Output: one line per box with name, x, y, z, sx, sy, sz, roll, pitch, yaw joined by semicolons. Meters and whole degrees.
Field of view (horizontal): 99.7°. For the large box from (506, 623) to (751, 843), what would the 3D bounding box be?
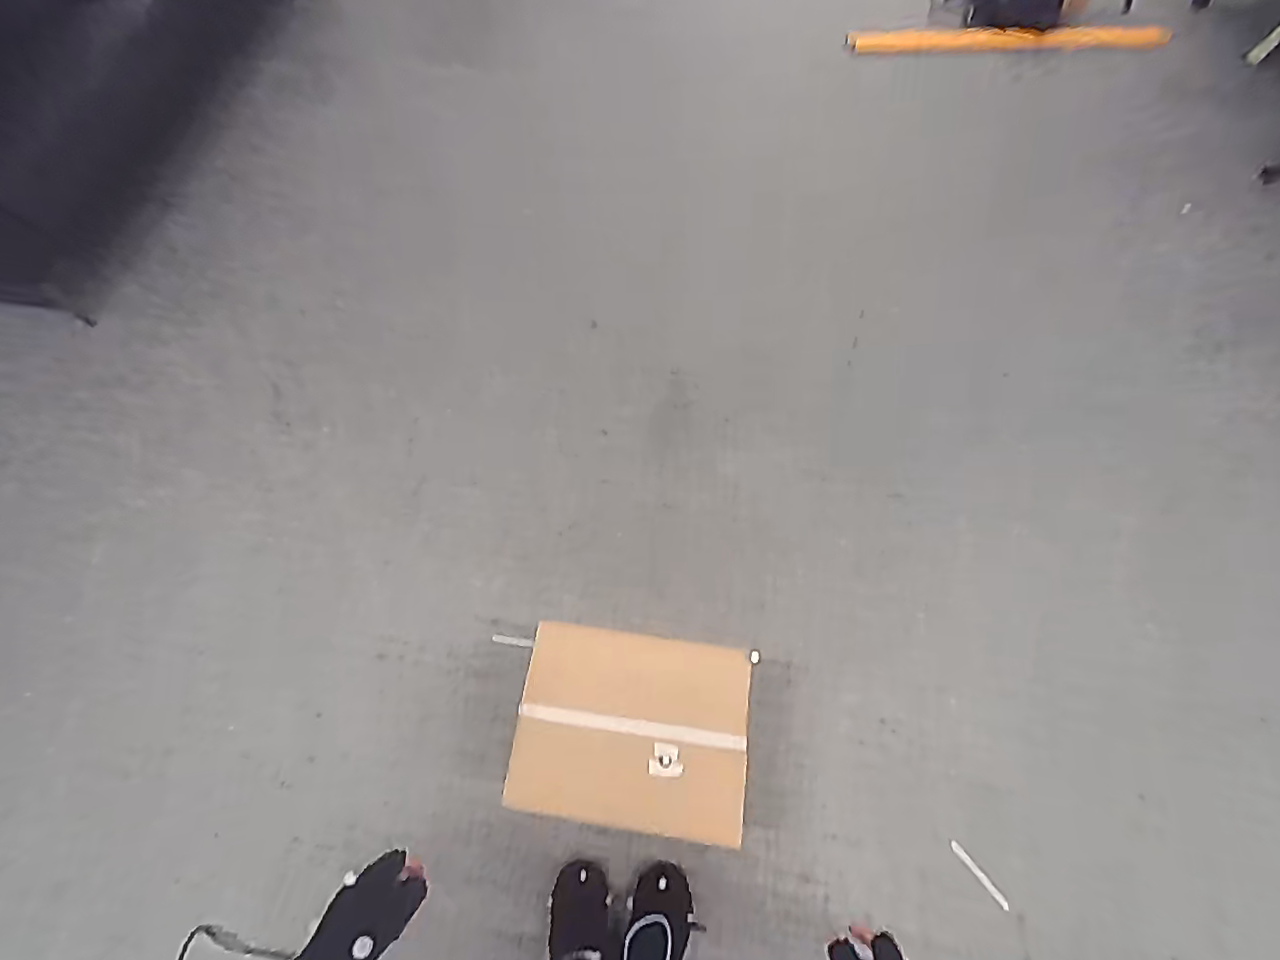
large box;-0.009;0.493;1.087;0.408;0.320;0.320;7;67;5
